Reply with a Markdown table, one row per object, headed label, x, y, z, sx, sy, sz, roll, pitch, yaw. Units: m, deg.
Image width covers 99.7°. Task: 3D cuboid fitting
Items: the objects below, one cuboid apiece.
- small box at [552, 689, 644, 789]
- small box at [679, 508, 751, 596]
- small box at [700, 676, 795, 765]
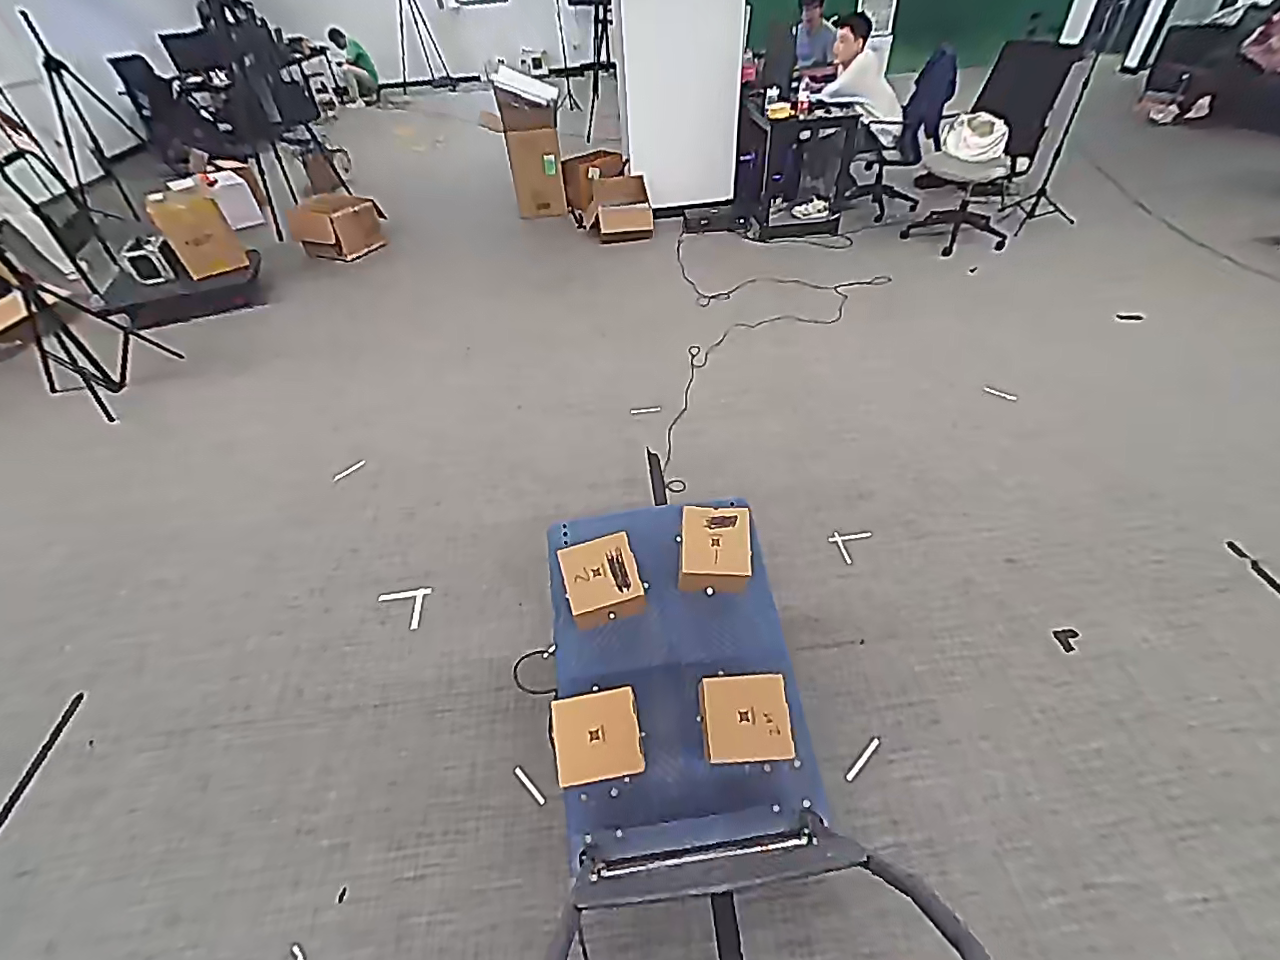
| label | x | y | z | sx | sy | sz | roll | pitch | yaw |
| --- | --- | --- | --- | --- | --- | --- | --- | --- | --- |
| small box | -0.089 | 0.570 | 1.187 | 0.179 | 0.176 | 0.168 | -9 | 63 | -5 |
| small box | 0.187 | 0.186 | 1.380 | 0.168 | 0.176 | 0.179 | 2 | 64 | 2 |
| small box | 0.227 | 0.535 | 1.196 | 0.179 | 0.176 | 0.168 | -3 | 63 | 0 |
